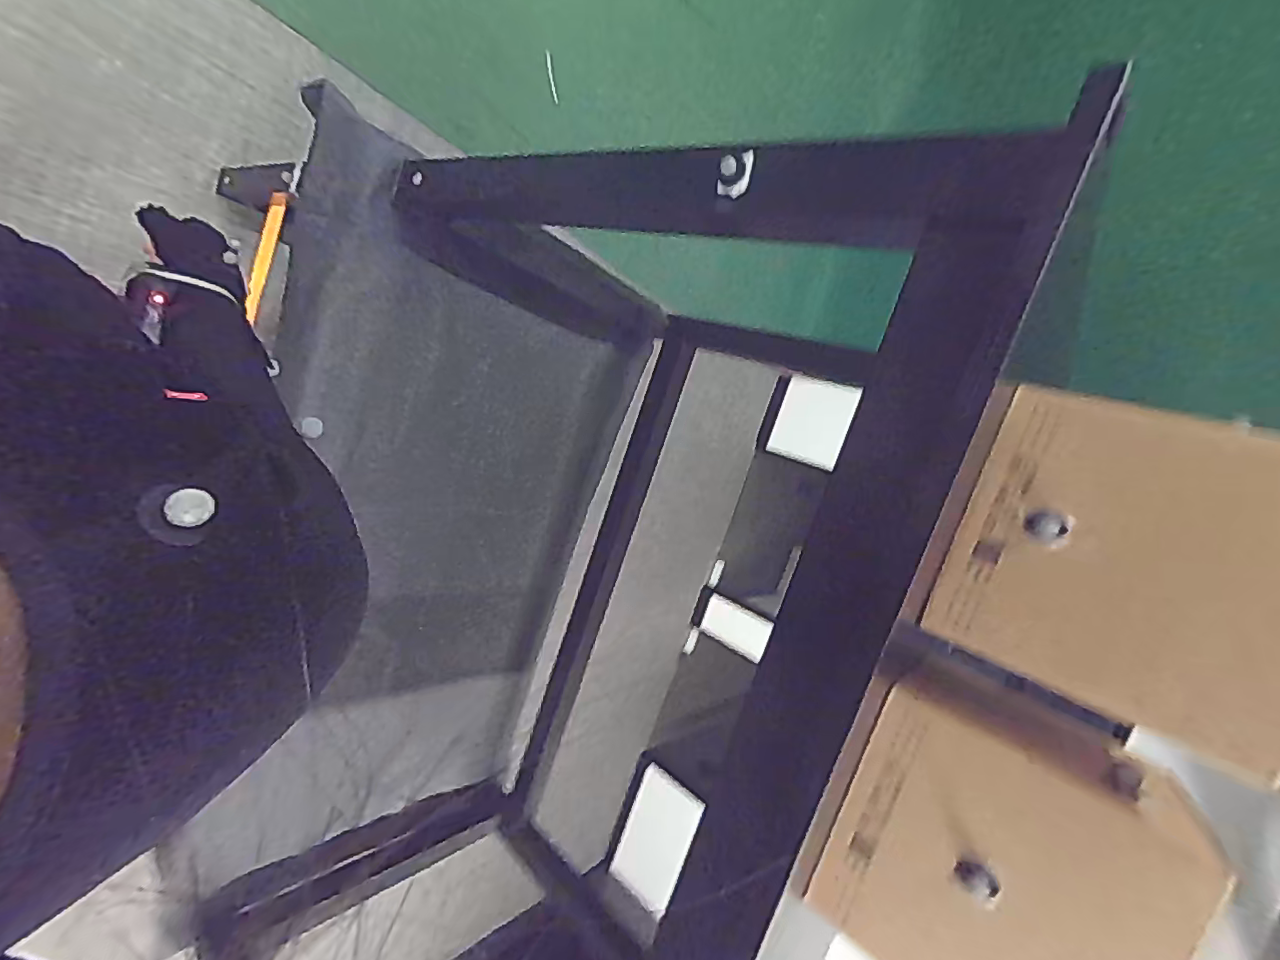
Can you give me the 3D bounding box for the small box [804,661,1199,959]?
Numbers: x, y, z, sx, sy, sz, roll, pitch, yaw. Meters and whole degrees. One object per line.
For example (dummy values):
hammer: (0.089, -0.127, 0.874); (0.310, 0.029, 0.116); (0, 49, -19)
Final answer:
small box: (0.242, 0.254, 0.394); (0.179, 0.176, 0.168); (13, 99, -55)
